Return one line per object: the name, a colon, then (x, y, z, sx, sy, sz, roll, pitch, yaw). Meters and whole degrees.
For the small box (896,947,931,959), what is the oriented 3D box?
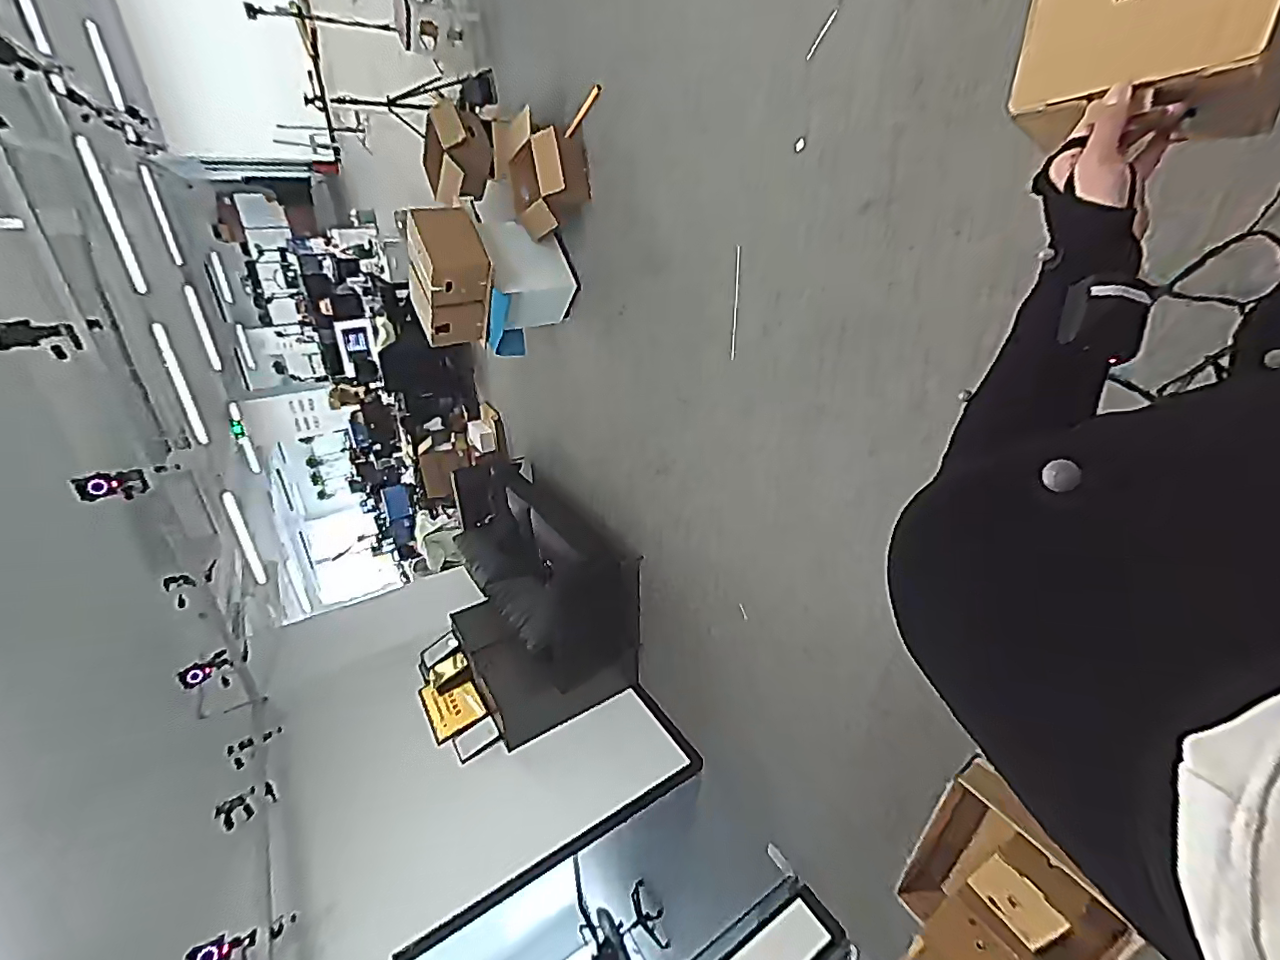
small box: (0.632, 1.246, 1.255, 0.168, 0.176, 0.179, 46, 138, 40)

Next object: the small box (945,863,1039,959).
small box: (0.903, 1.168, 1.420, 0.168, 0.176, 0.179, 37, 133, 46)

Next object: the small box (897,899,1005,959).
small box: (0.767, 1.203, 1.338, 0.168, 0.176, 0.179, 37, 133, 48)

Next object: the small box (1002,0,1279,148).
small box: (0.461, -0.420, 0.479, 0.168, 0.176, 0.179, 22, 110, 47)
